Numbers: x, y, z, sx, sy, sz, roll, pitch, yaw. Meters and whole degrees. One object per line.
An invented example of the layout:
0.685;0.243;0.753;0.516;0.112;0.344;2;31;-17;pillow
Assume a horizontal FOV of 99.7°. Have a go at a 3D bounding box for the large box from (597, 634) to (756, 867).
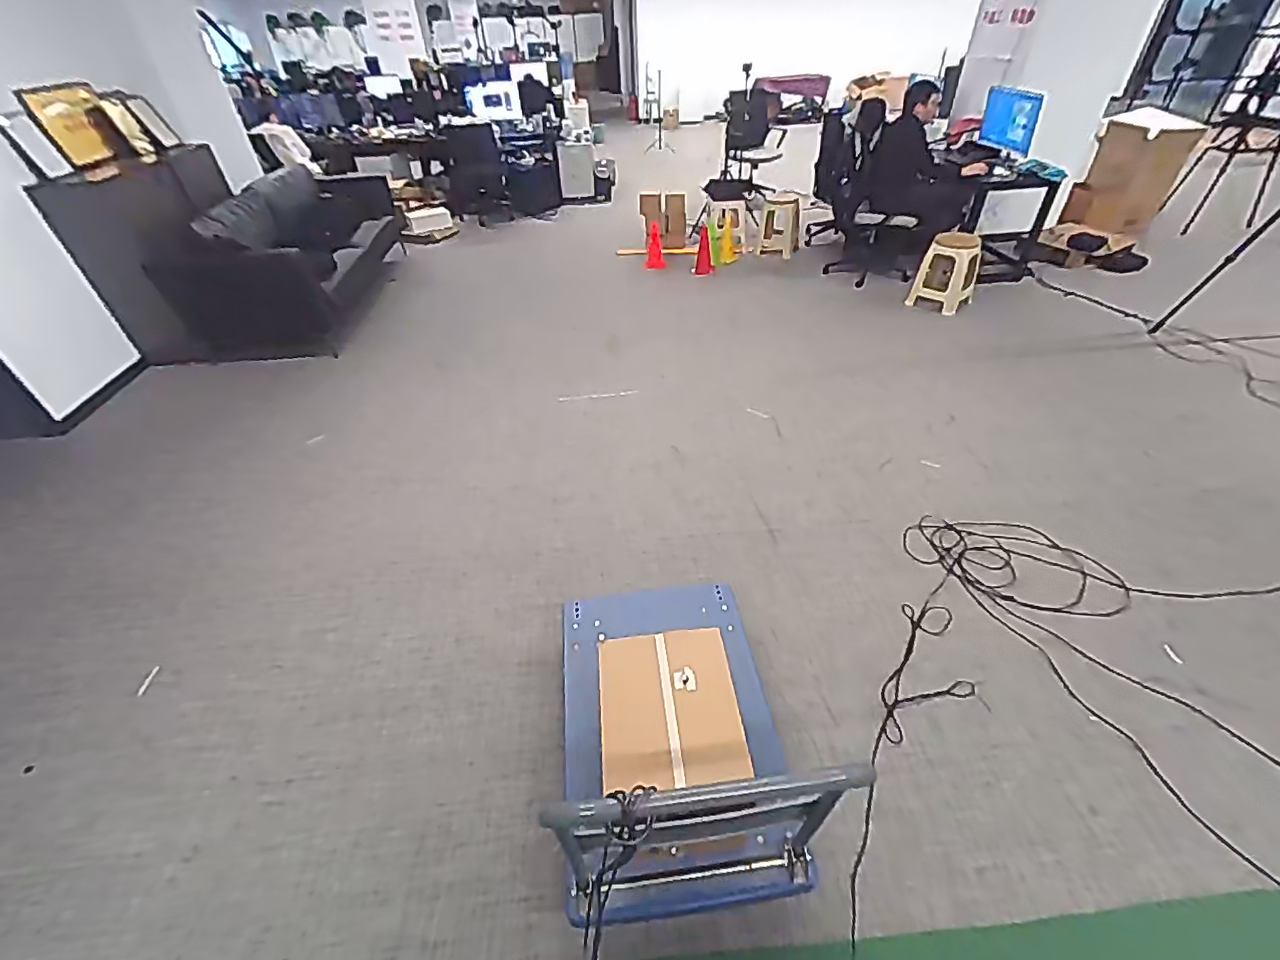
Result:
0.071;0.648;1.320;0.320;0.320;0.408;-5;39;-3;large box
